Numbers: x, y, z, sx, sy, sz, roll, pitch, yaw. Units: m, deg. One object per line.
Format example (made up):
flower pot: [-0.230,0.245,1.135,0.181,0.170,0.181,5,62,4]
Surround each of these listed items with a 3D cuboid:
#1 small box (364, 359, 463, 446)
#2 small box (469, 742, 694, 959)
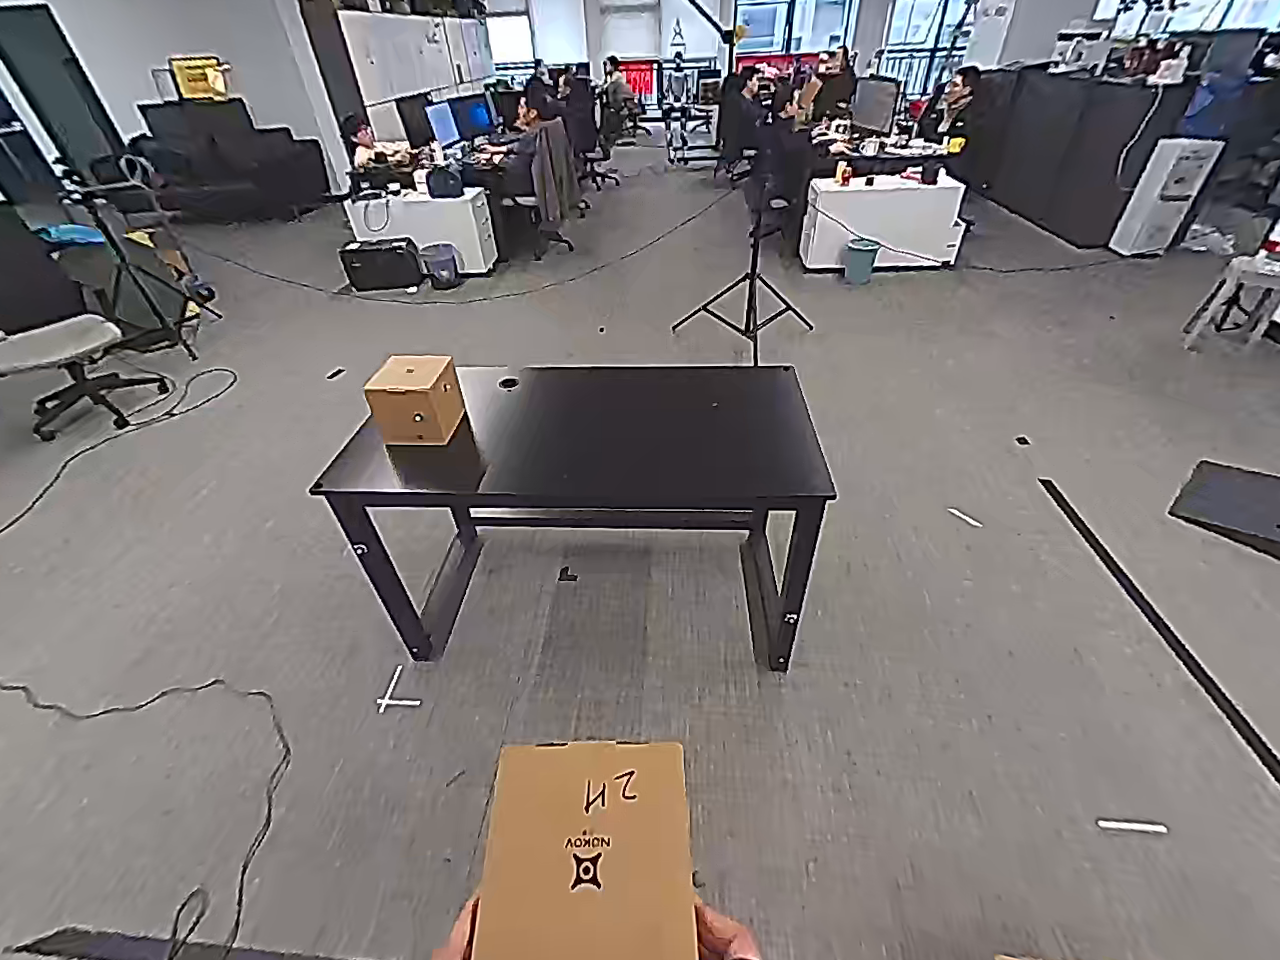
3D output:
small box: [-0.575,-0.201,1.403,0.168,0.176,0.179,1,38,3]
small box: [-0.042,0.356,0.486,0.168,0.176,0.179,-1,46,-2]
